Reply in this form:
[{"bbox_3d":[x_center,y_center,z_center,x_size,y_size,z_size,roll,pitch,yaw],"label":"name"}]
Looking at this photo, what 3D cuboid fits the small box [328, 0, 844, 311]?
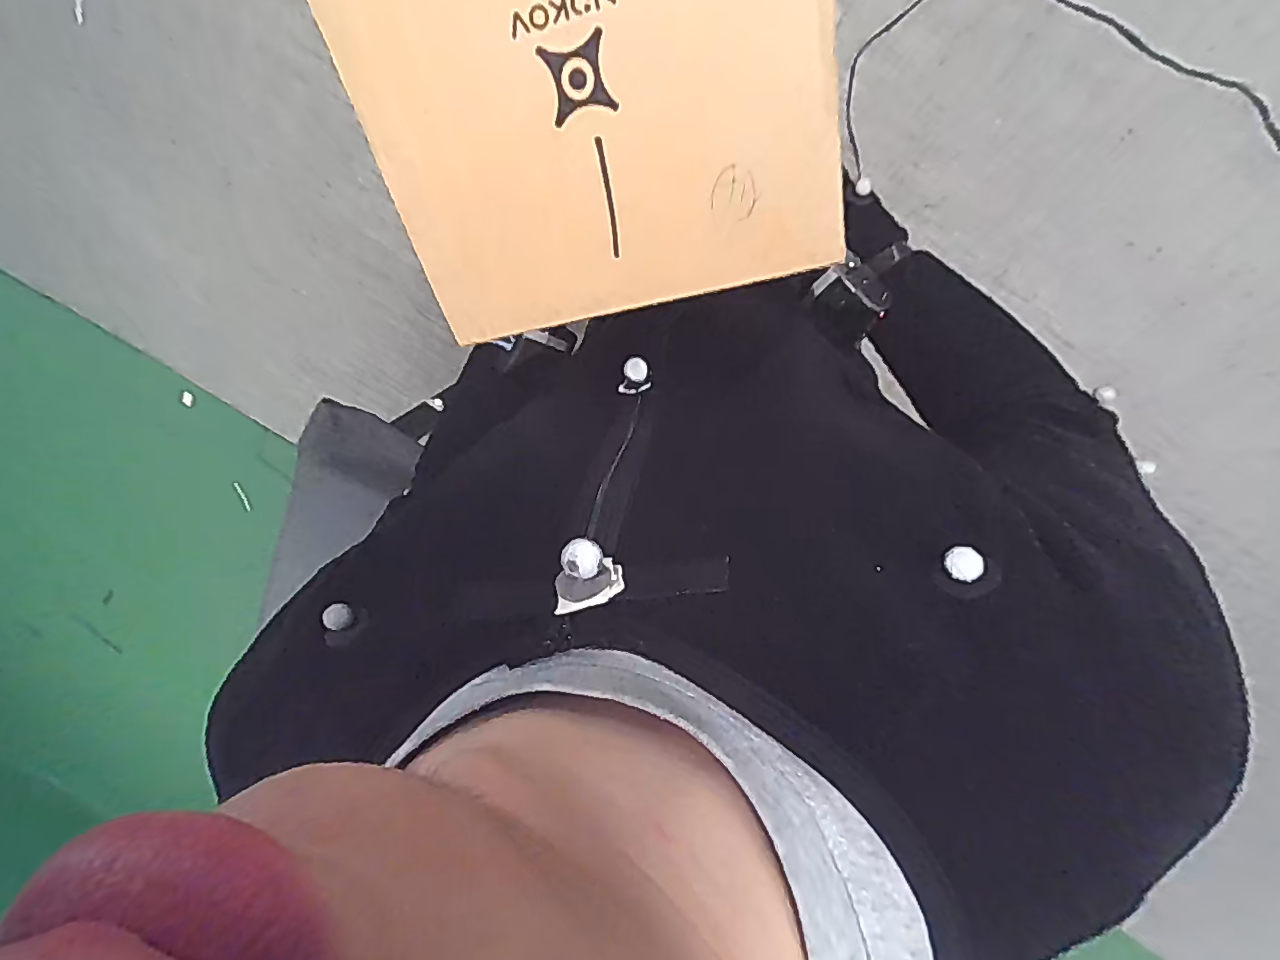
[{"bbox_3d":[-0.014,-0.198,0.242,0.168,0.176,0.179,-8,122,12],"label":"small box"}]
